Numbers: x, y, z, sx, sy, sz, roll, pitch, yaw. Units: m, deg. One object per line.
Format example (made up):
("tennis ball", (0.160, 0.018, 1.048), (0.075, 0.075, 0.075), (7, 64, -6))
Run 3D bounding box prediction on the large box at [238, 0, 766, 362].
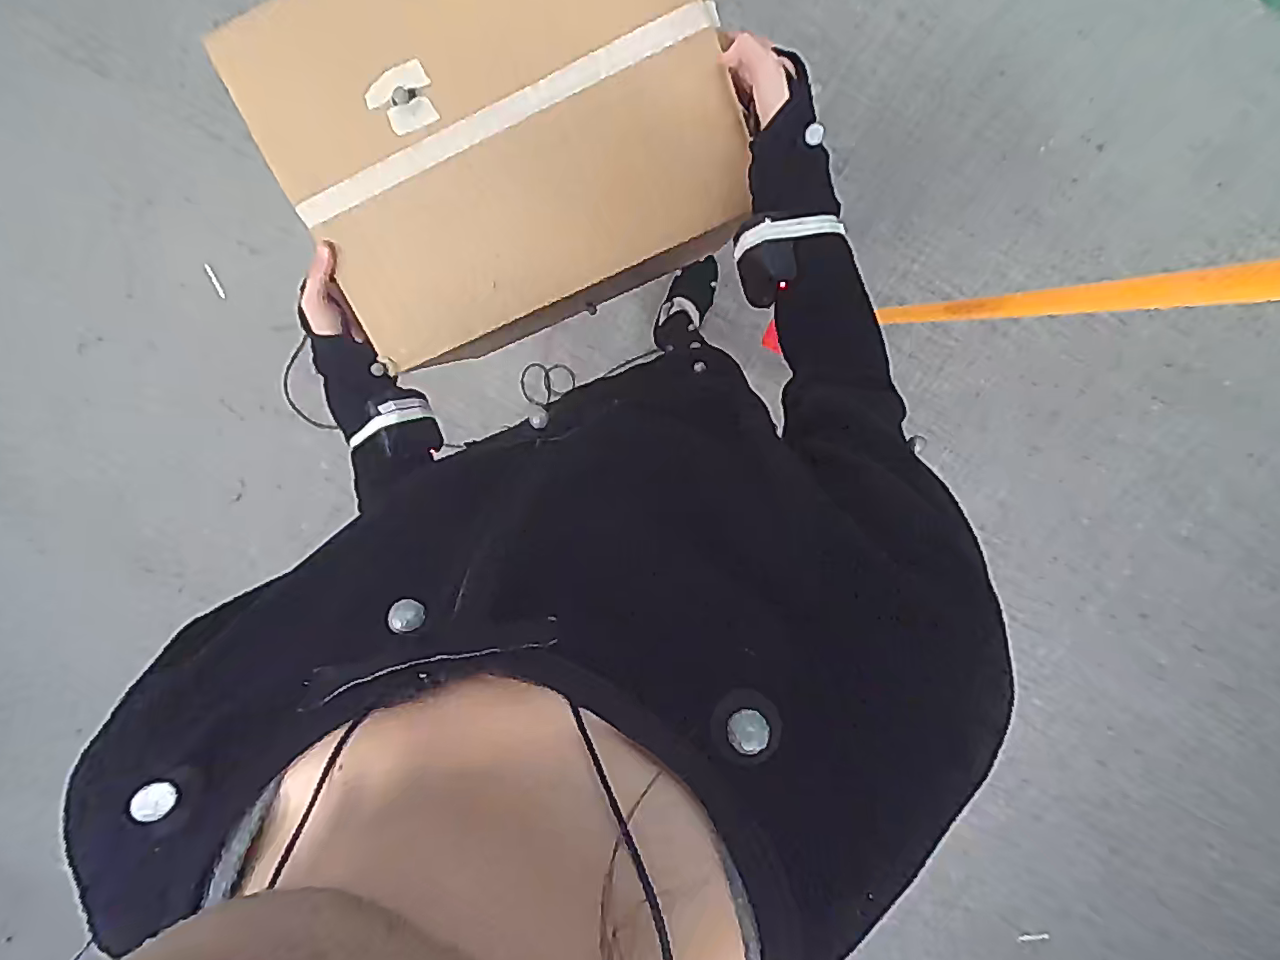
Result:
("large box", (-0.117, -0.373, 0.636), (0.408, 0.320, 0.320), (-22, 105, 6))
